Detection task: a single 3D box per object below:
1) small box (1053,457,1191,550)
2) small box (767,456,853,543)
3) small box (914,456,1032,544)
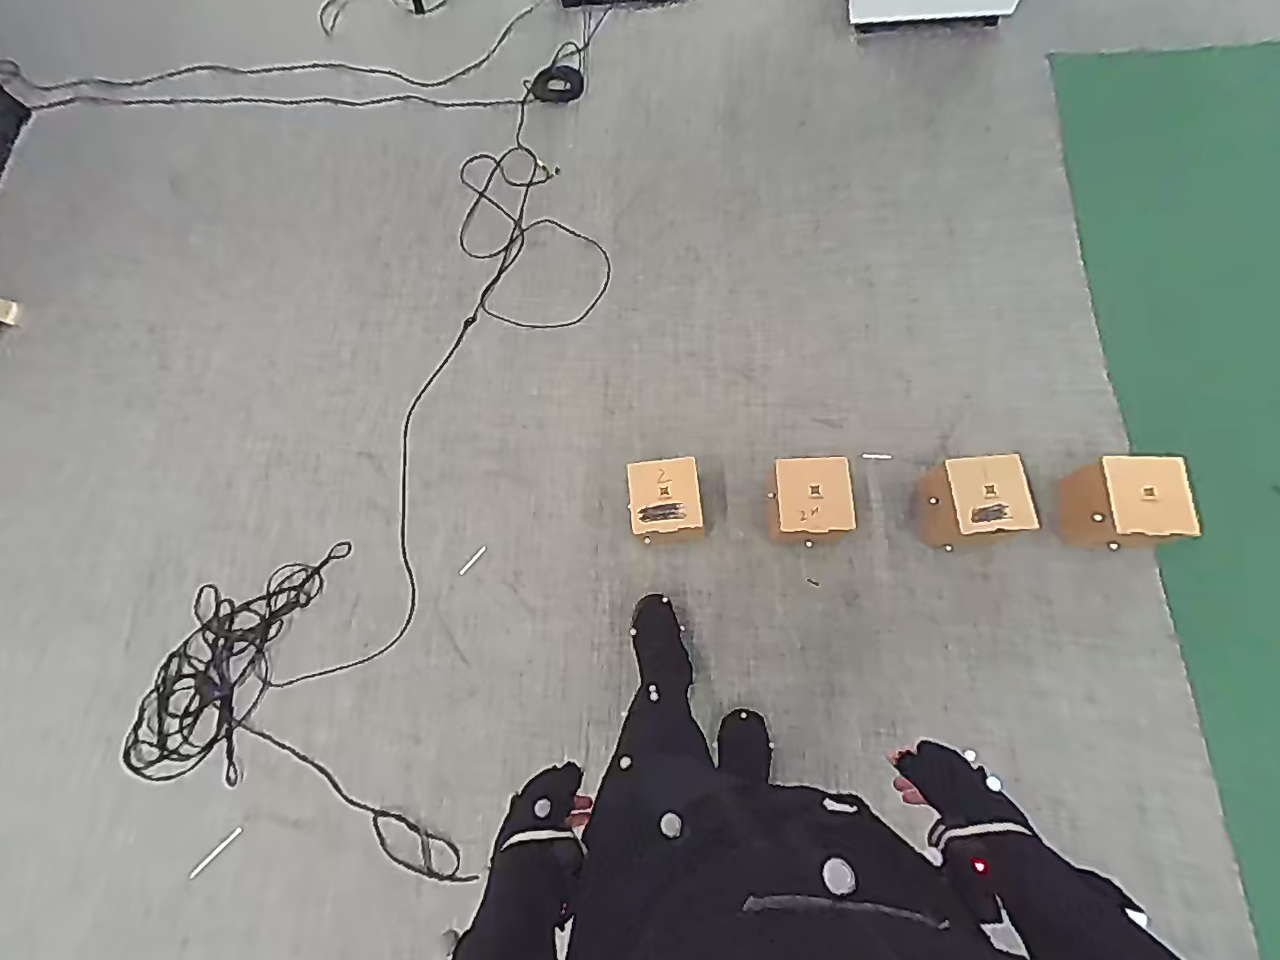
[{"bbox_3d":[1.101,0.058,1.254,0.168,0.176,0.179,1,73,6],"label":"small box"},{"bbox_3d":[0.405,0.052,1.316,0.168,0.176,0.179,-2,73,6],"label":"small box"},{"bbox_3d":[0.778,0.055,1.283,0.168,0.176,0.179,-3,72,4],"label":"small box"}]
